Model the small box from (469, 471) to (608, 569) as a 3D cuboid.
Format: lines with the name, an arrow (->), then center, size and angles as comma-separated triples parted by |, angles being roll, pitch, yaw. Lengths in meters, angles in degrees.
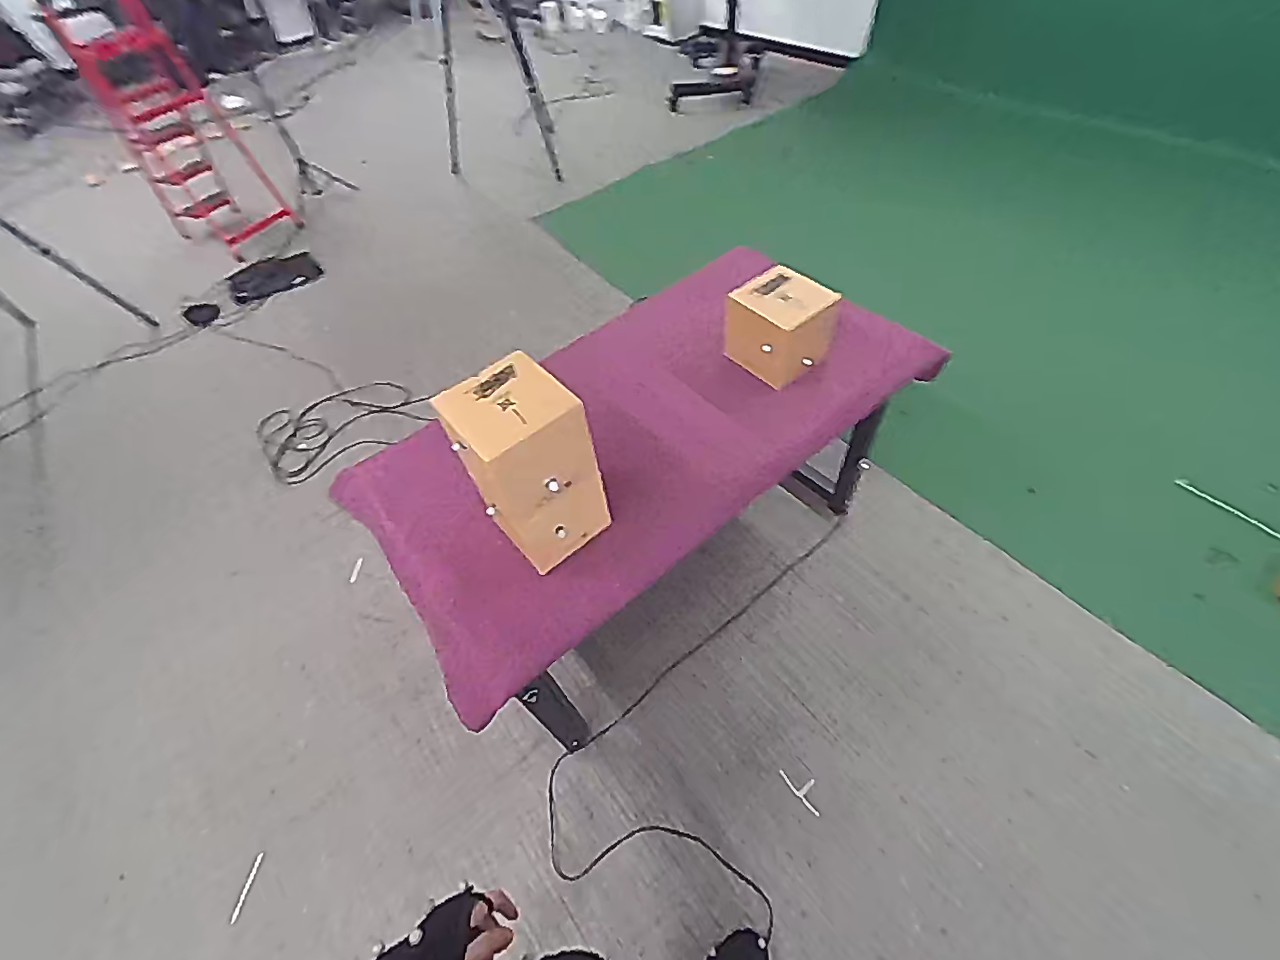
small box -> -0.176, 0.039, 0.989 | 0.168, 0.176, 0.179 | -36, 56, -21

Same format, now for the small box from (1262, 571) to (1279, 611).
small box -> 1.914, 0.302, 1.498 | 0.179, 0.176, 0.168 | -32, 56, -18

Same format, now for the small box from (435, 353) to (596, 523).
small box -> -0.191, -0.064, 0.862 | 0.168, 0.176, 0.179 | -36, 58, -20
